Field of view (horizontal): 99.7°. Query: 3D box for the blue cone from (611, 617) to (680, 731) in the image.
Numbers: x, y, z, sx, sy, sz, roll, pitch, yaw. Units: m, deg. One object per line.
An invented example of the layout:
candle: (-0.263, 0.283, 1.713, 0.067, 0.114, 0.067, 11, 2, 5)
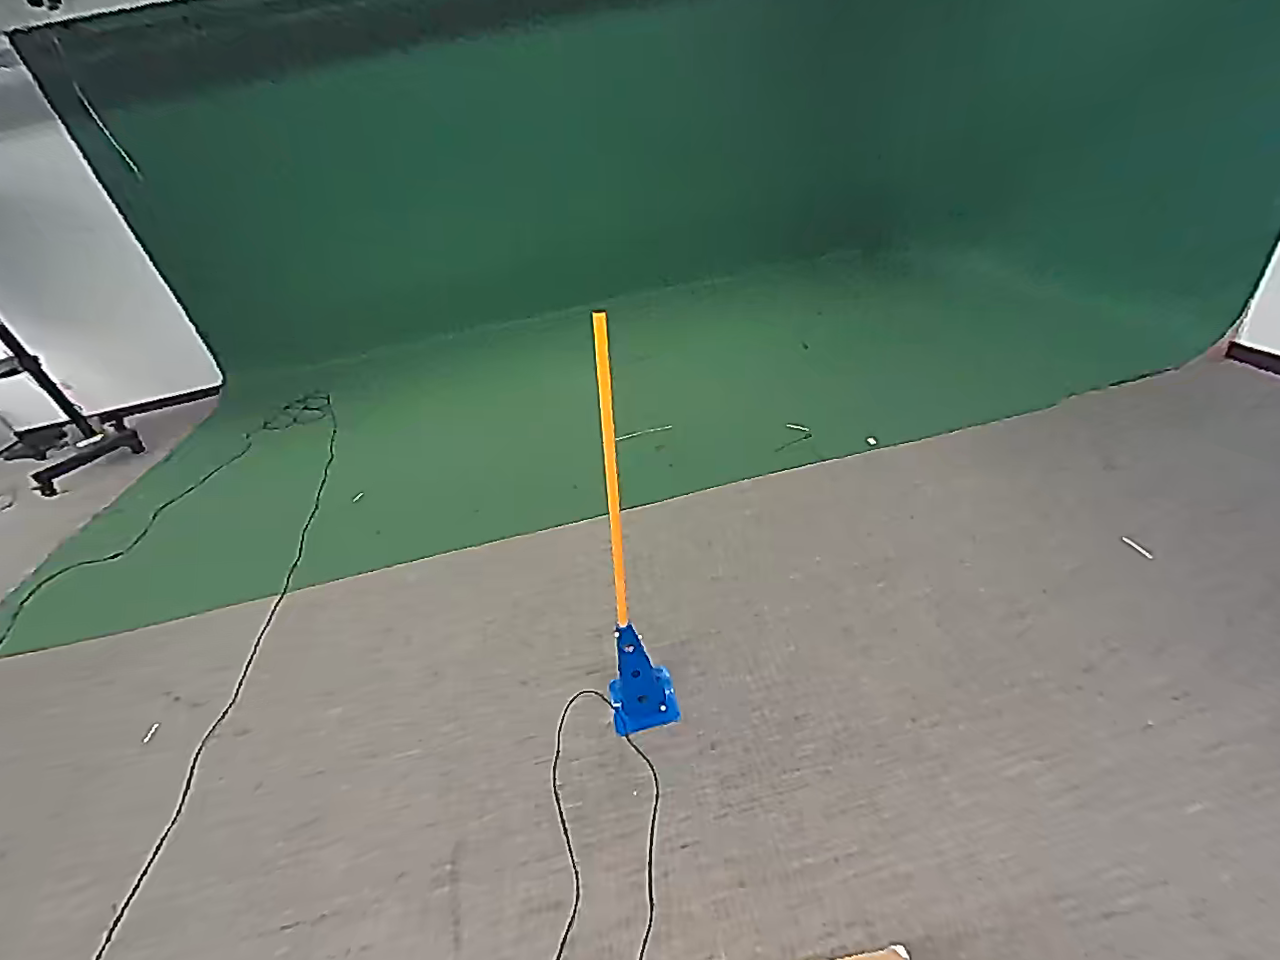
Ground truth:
blue cone: (-0.010, 0.530, 1.571, 0.193, 0.380, 0.192, -14, 34, -6)
